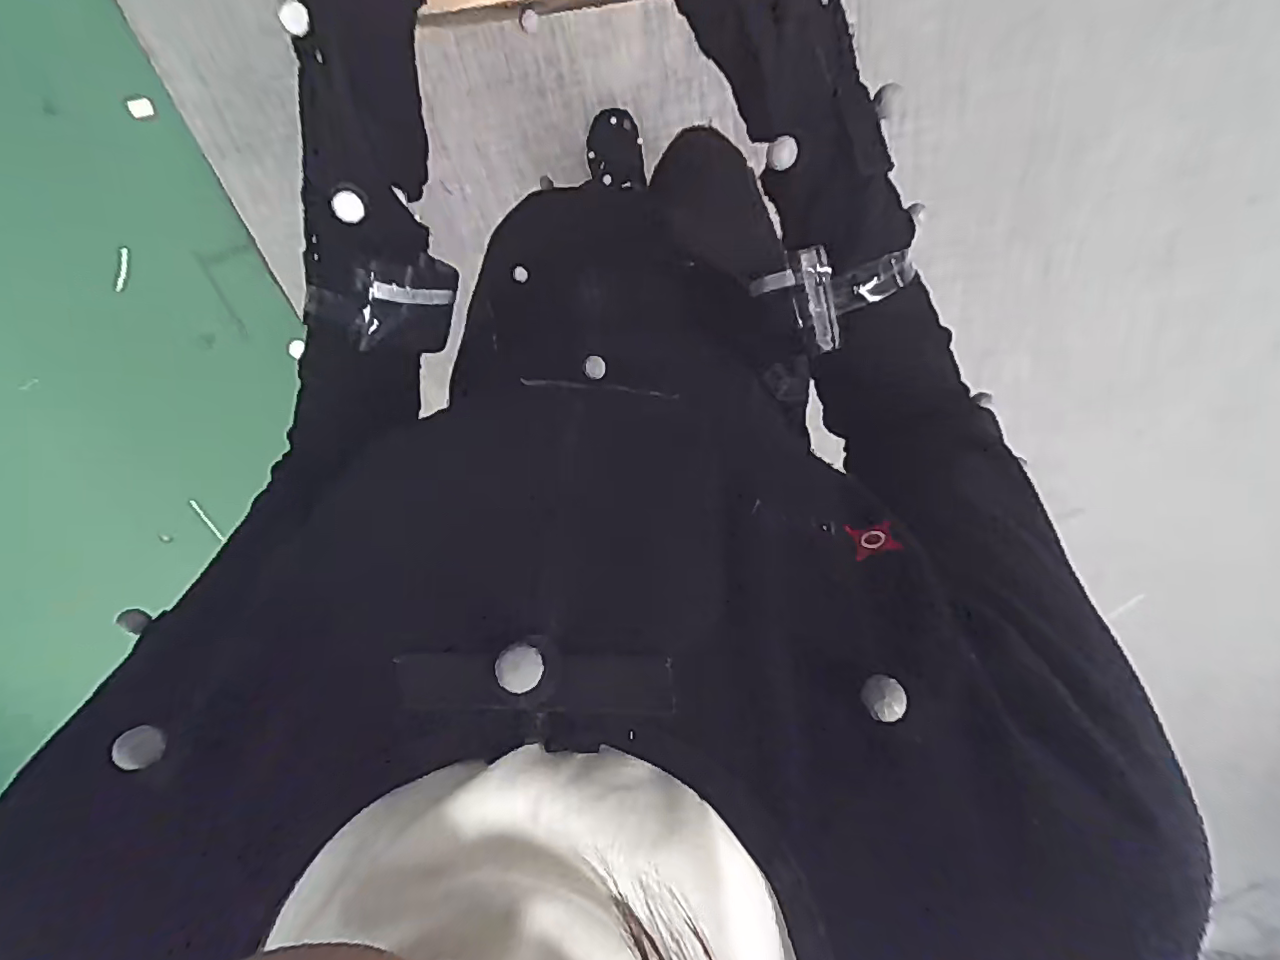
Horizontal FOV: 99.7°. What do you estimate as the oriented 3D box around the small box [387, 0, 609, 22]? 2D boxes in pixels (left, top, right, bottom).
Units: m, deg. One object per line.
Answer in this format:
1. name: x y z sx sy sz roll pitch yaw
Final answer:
1. small box: -0.063 -0.373 0.298 0.179 0.176 0.168 -8 128 2
